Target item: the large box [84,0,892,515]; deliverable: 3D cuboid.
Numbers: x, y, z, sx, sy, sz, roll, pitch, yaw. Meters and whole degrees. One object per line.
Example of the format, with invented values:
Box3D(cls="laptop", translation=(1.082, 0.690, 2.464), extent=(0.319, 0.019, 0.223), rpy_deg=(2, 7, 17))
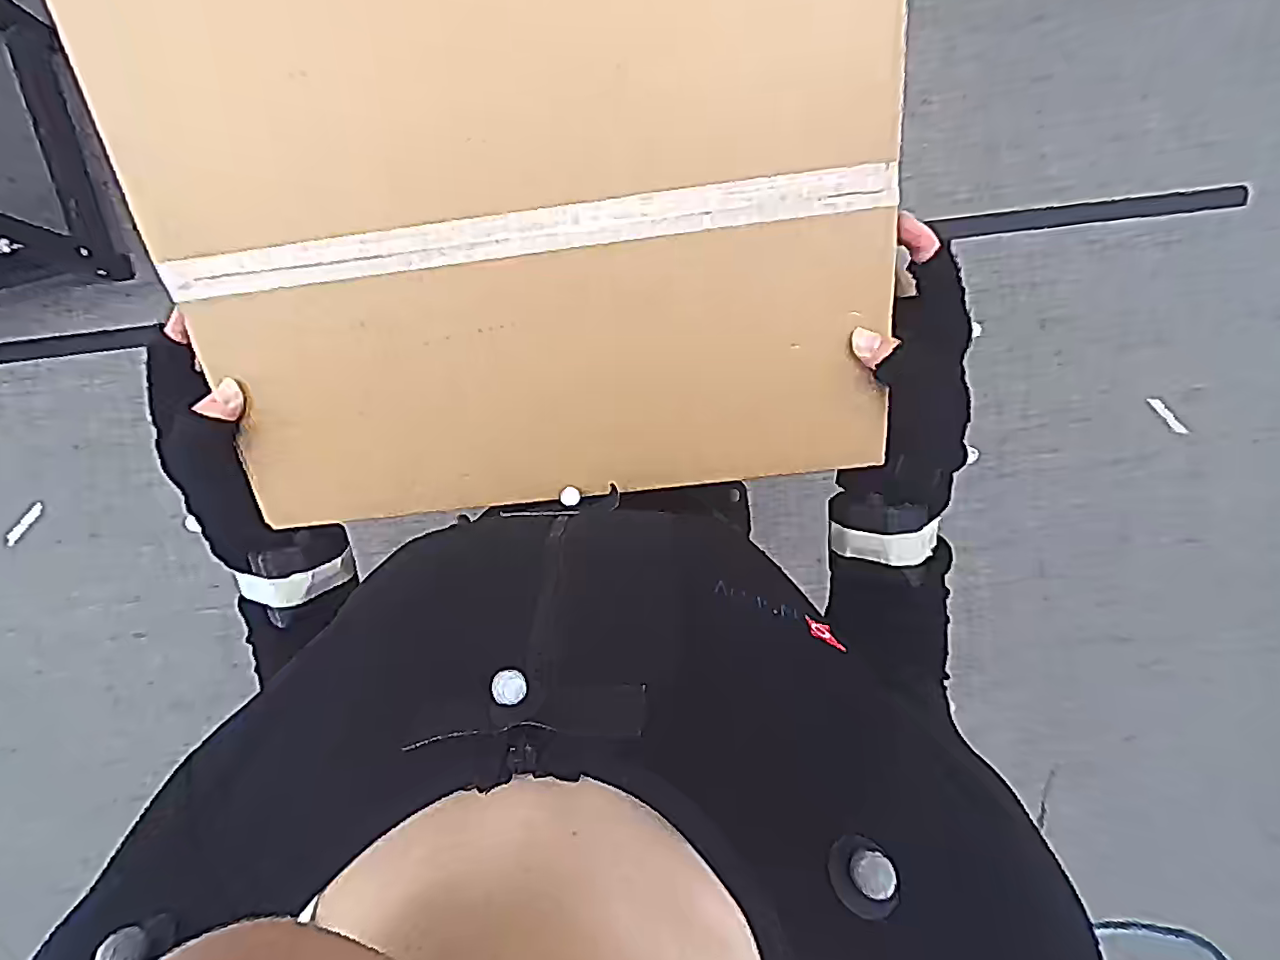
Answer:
Box3D(cls="large box", translation=(-0.064, -0.194, 0.443), extent=(0.408, 0.320, 0.320), rpy_deg=(-6, 112, 3))
